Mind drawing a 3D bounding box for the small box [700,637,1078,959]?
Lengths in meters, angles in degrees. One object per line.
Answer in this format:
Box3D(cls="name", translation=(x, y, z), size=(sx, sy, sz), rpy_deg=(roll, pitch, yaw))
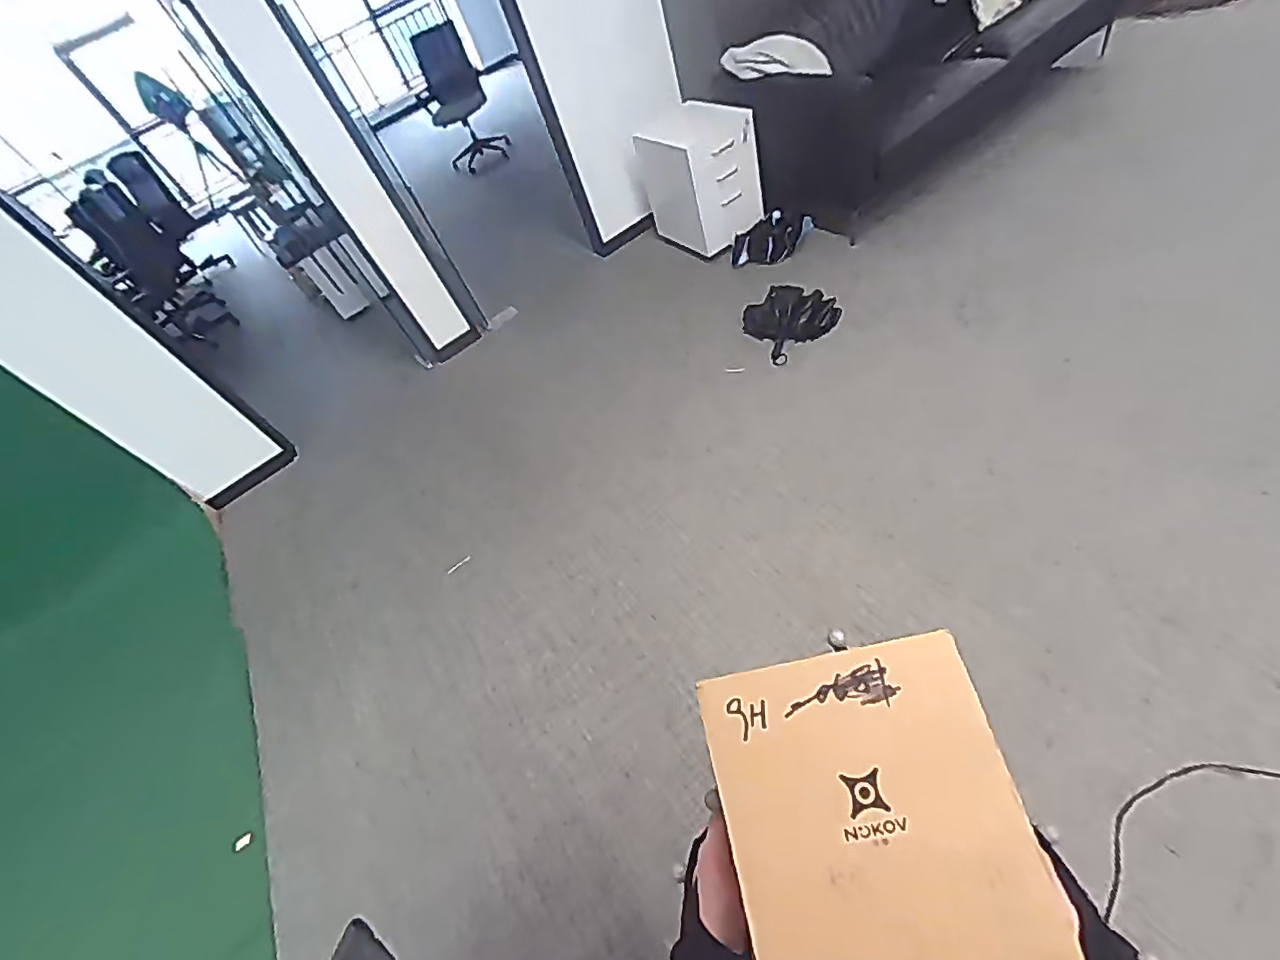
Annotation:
Box3D(cls="small box", translation=(0.144, 0.220, 0.387), size=(0.168, 0.176, 0.179), rpy_deg=(-13, 68, 3))
